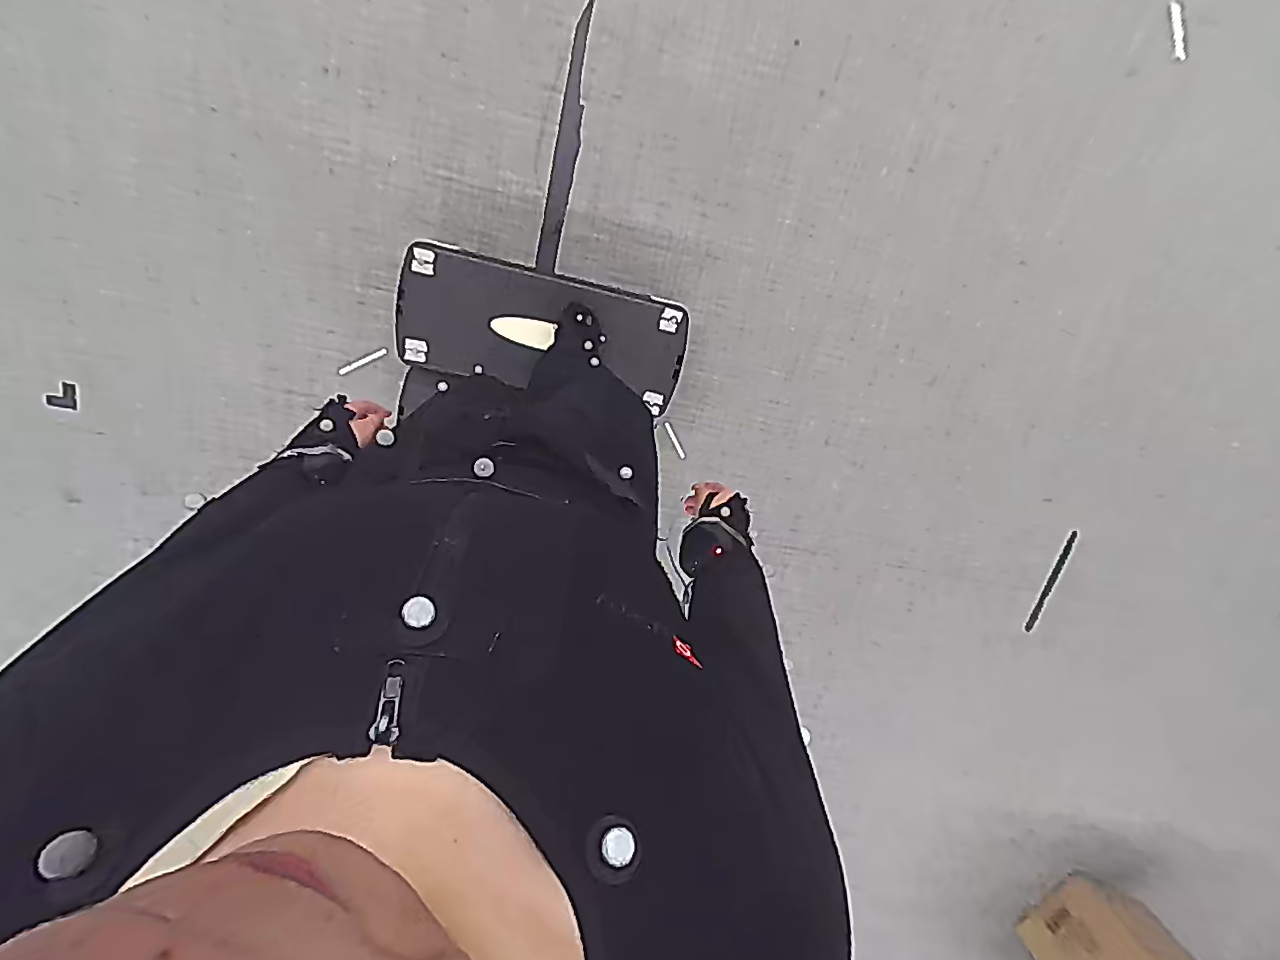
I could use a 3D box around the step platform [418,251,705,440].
[{"bbox_3d":[-0.186,-0.326,1.353,0.684,0.204,0.286,15,106,-11],"label":"step platform"}]
